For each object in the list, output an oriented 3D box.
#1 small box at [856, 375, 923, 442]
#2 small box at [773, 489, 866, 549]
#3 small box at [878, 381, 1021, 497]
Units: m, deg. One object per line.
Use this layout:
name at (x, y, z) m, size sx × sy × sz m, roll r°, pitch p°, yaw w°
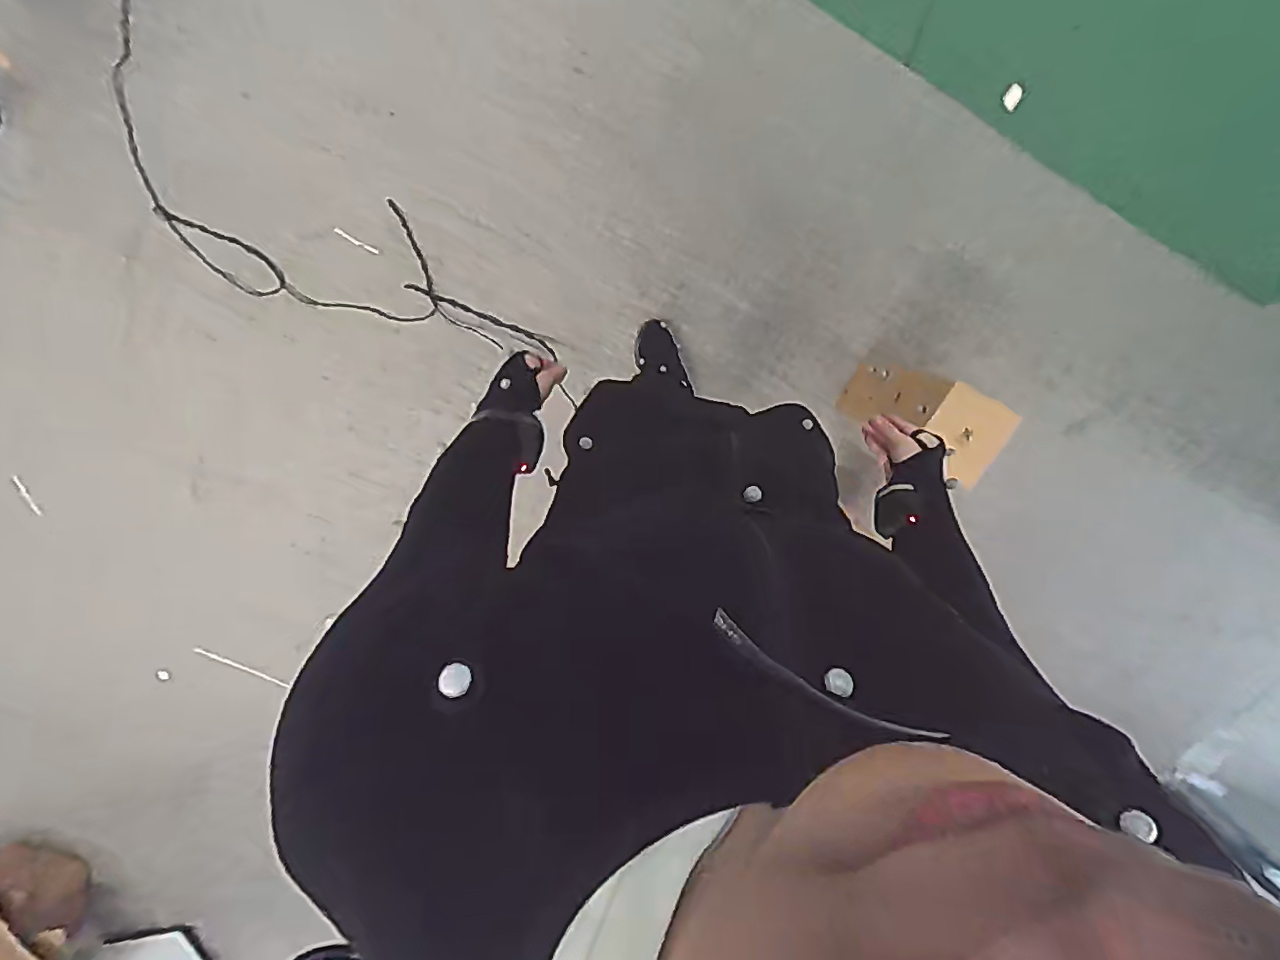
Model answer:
small box at (0.663, -0.145, 1.316) m, size 0.179 × 0.176 × 0.168 m, roll 26°, pitch 106°, yaw -7°
small box at (0.512, 0.146, 1.577) m, size 0.179 × 0.176 × 0.168 m, roll 35°, pitch 105°, yaw -8°
small box at (0.646, -0.096, 1.158) m, size 0.168 × 0.176 × 0.179 m, roll 27°, pitch 106°, yaw -6°
